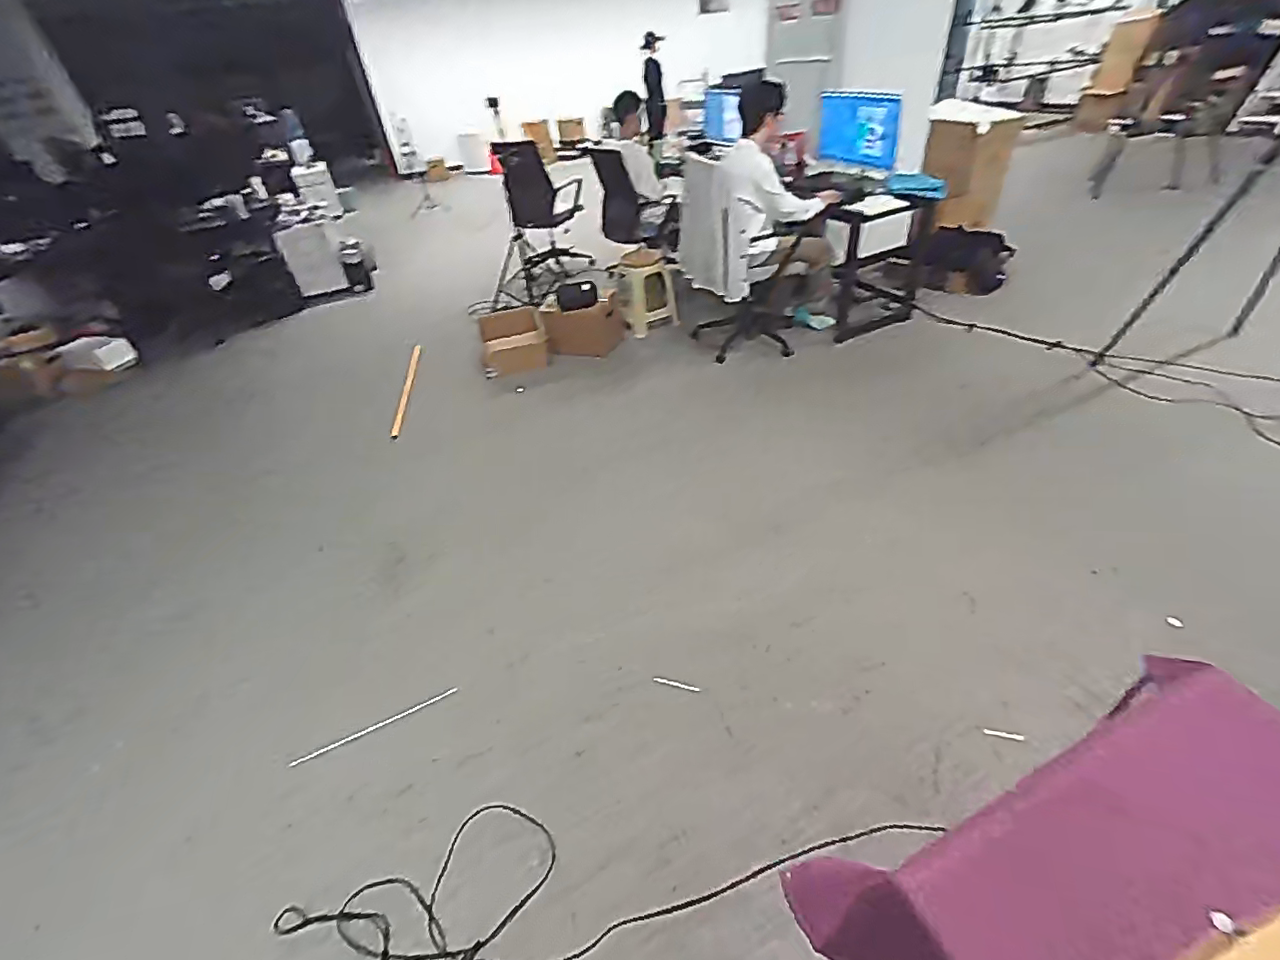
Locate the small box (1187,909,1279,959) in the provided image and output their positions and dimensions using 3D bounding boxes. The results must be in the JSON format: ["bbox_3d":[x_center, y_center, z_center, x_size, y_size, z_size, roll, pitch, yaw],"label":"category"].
[{"bbox_3d":[0.560,0.488,0.442,0.179,0.176,0.168,-17,39,-13],"label":"small box"}]
